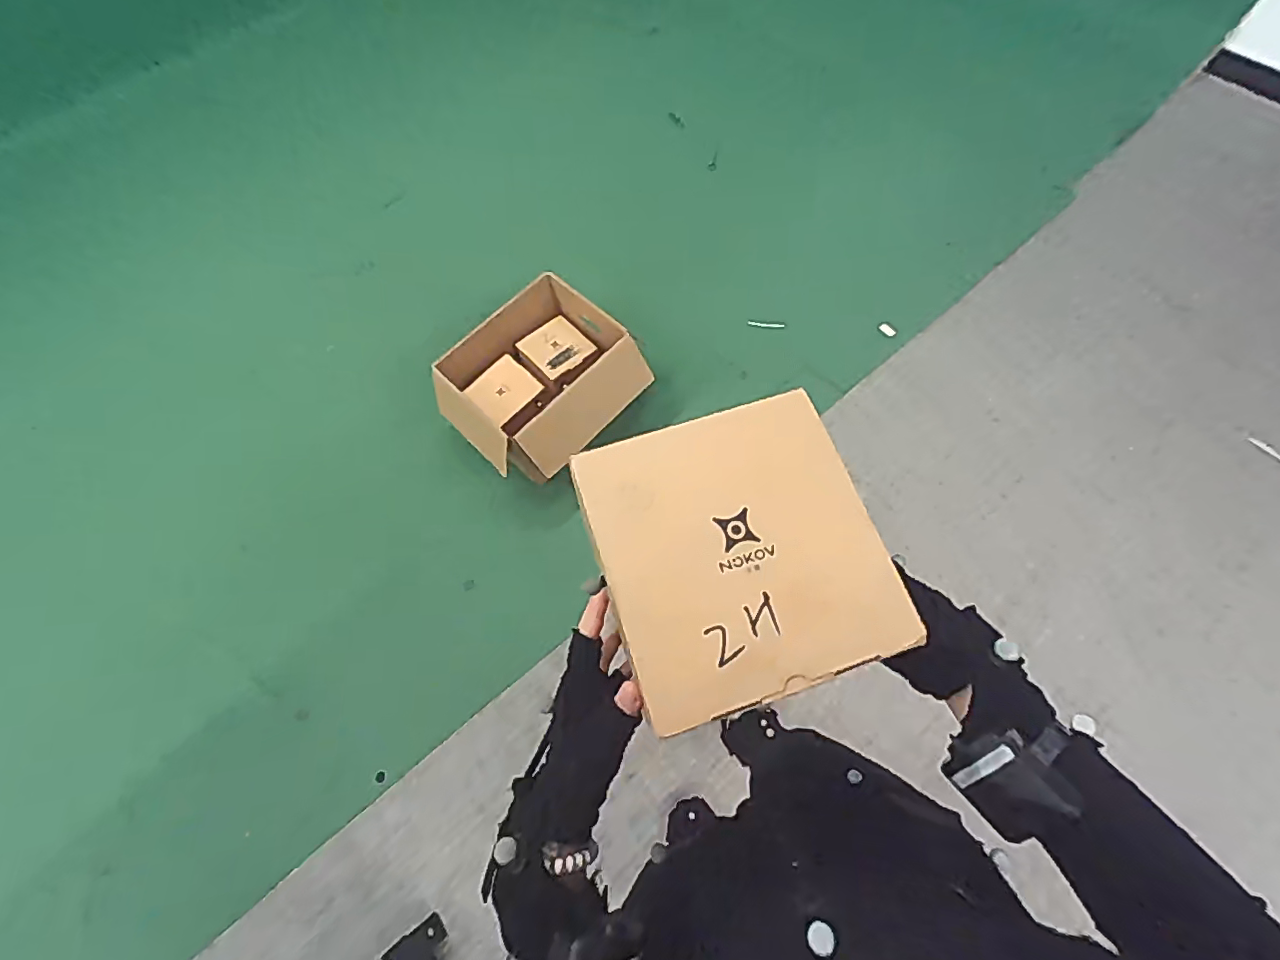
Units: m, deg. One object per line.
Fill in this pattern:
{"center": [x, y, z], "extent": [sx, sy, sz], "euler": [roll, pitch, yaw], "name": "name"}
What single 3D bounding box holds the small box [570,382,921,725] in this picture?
{"center": [0.056, 0.061, 0.400], "extent": [0.168, 0.176, 0.179], "euler": [-18, 71, -7], "name": "small box"}
